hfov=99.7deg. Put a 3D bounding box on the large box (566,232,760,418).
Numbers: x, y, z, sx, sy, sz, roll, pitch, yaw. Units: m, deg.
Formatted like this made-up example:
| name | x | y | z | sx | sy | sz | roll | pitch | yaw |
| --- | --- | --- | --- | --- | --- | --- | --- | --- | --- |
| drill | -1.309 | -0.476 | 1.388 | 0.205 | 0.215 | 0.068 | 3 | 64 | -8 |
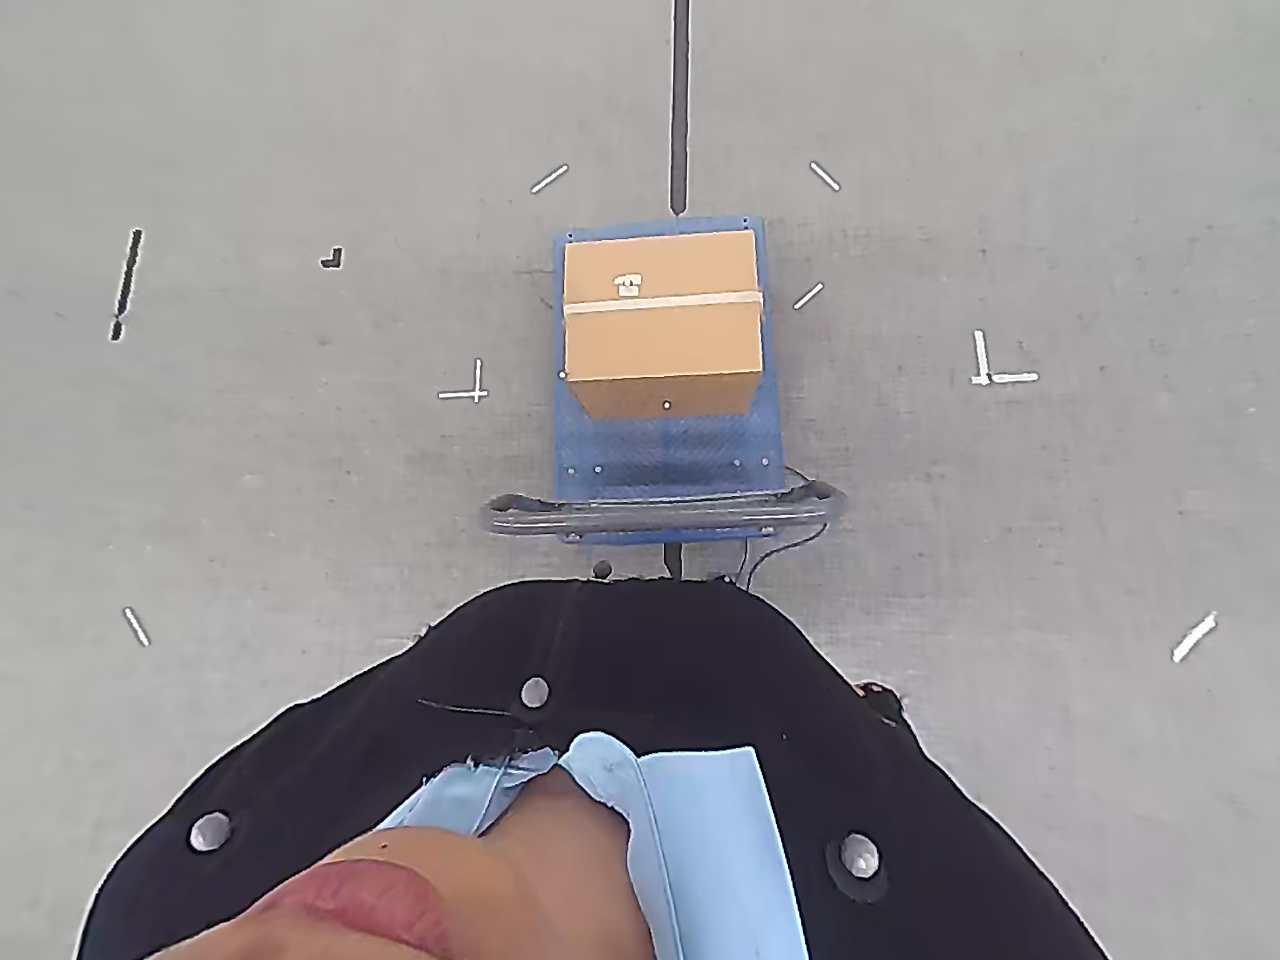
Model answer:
| name | x | y | z | sx | sy | sz | roll | pitch | yaw |
| --- | --- | --- | --- | --- | --- | --- | --- | --- | --- |
| large box | 0.058 | -0.344 | 1.288 | 0.408 | 0.320 | 0.320 | -3 | 80 | 6 |
